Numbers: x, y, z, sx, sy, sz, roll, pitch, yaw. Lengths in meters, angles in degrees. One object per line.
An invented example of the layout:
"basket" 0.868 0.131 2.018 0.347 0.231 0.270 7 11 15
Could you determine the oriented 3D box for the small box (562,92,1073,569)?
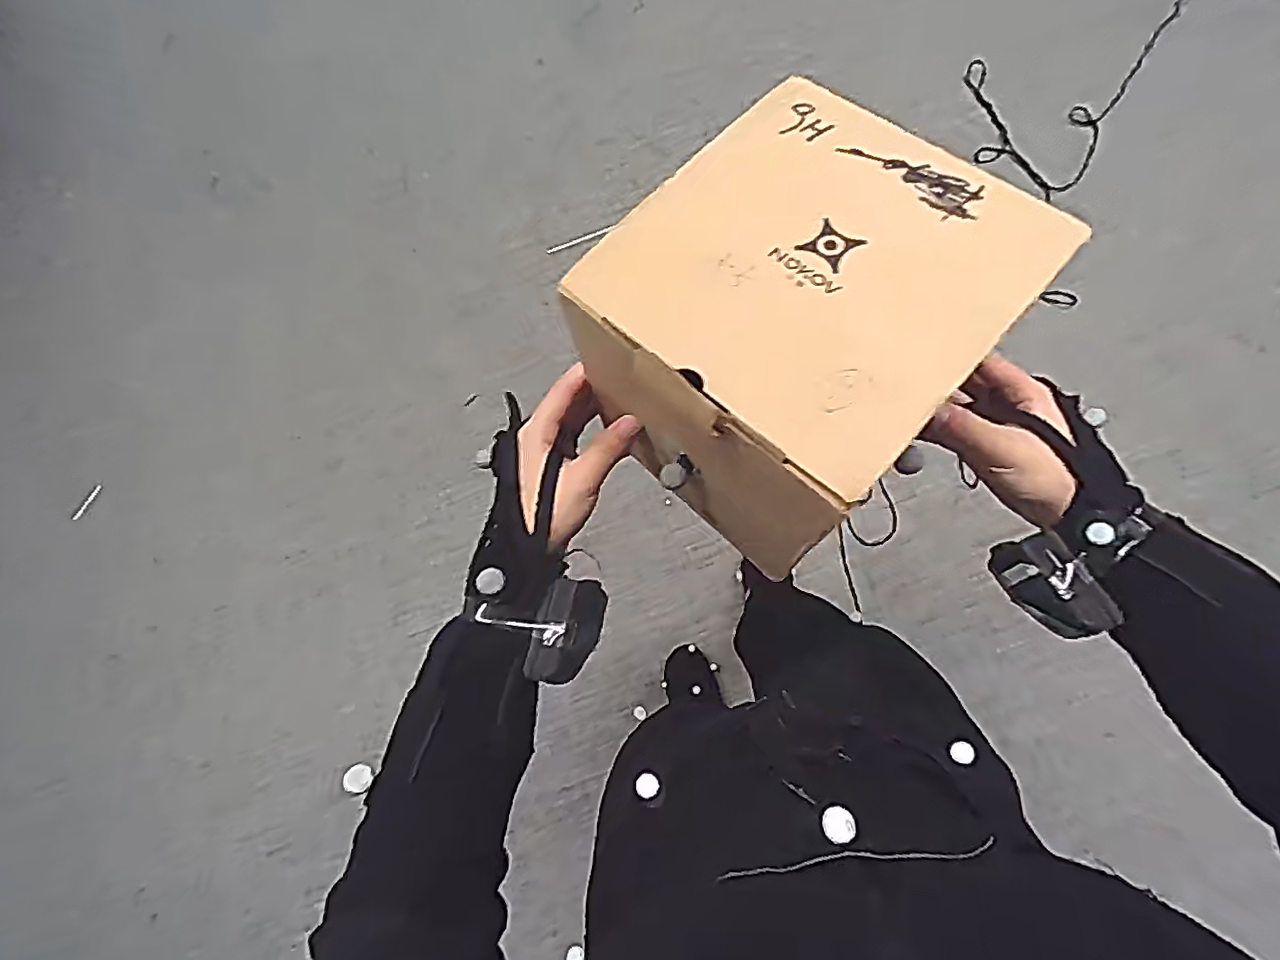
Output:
"small box" 0.085 -0.069 0.324 0.168 0.176 0.179 42 79 17
